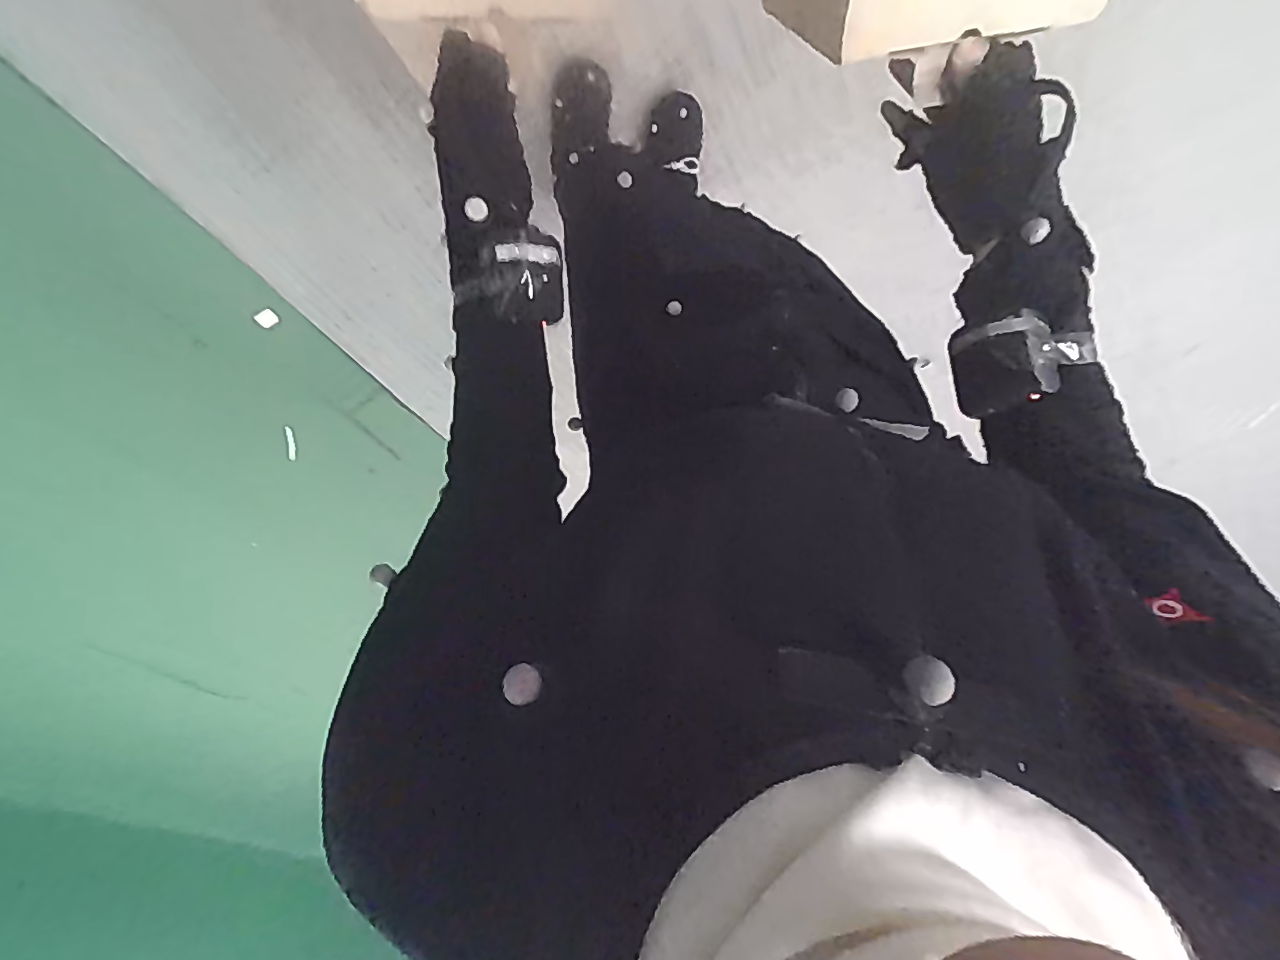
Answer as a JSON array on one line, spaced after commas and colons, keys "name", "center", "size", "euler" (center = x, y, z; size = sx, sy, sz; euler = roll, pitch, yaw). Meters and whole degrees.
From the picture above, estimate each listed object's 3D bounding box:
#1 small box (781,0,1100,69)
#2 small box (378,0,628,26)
[{"name": "small box", "center": [0.187, -0.389, 0.327], "size": [0.168, 0.176, 0.179], "euler": [-10, 141, -1]}, {"name": "small box", "center": [-0.091, -0.419, 0.335], "size": [0.168, 0.176, 0.179], "euler": [-3, 145, -4]}]
